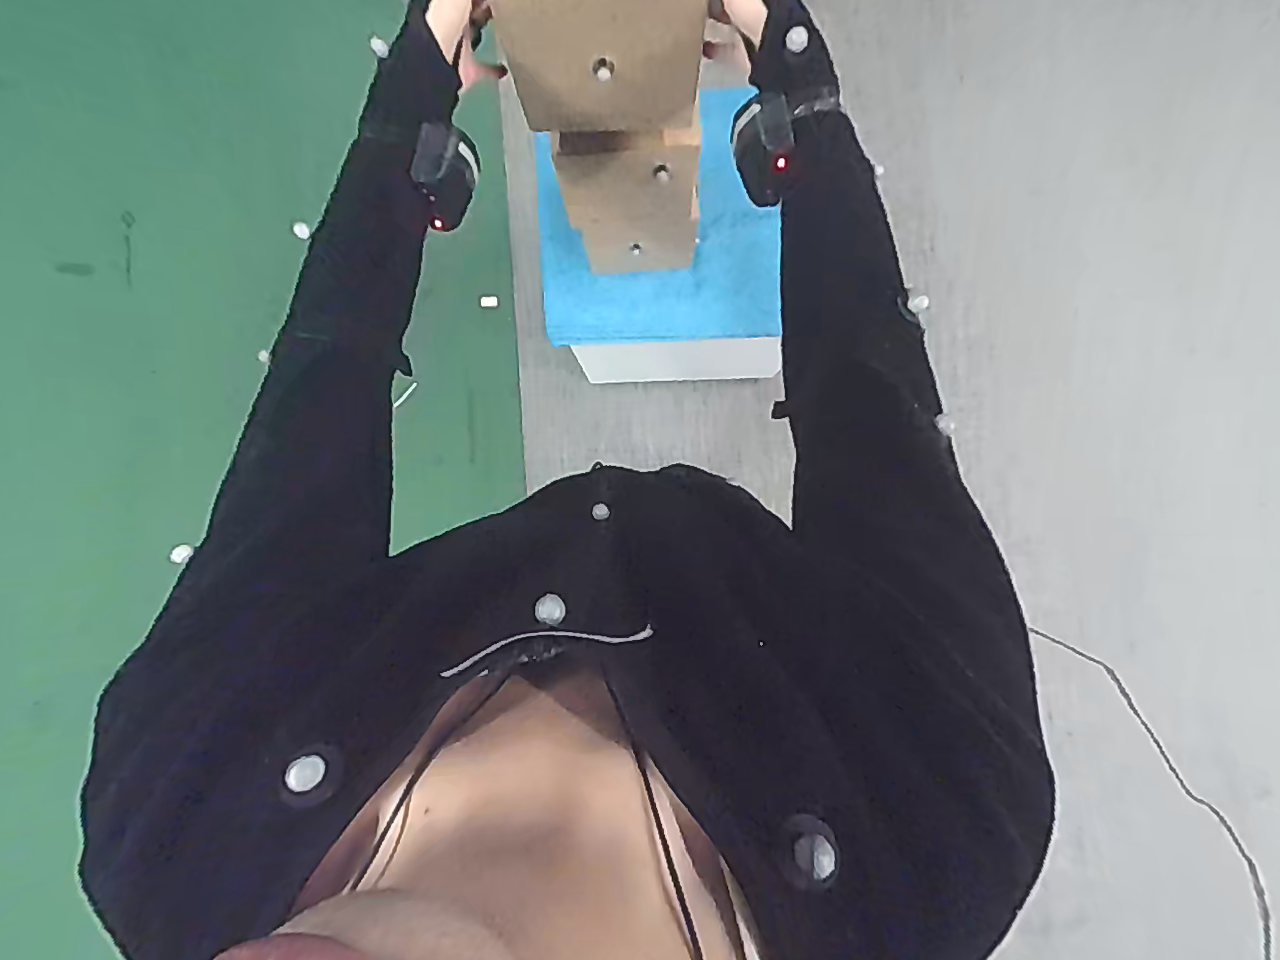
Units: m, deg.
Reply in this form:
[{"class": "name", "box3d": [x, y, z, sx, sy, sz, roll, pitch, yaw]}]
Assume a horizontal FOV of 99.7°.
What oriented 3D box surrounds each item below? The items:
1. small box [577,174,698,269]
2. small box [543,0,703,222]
[{"class": "small box", "box3d": [-0.007, -0.448, 0.852, 0.179, 0.176, 0.168, -3, 88, 1]}, {"class": "small box", "box3d": [-0.019, -0.452, 0.687, 0.179, 0.176, 0.168, -3, 87, 1]}]
